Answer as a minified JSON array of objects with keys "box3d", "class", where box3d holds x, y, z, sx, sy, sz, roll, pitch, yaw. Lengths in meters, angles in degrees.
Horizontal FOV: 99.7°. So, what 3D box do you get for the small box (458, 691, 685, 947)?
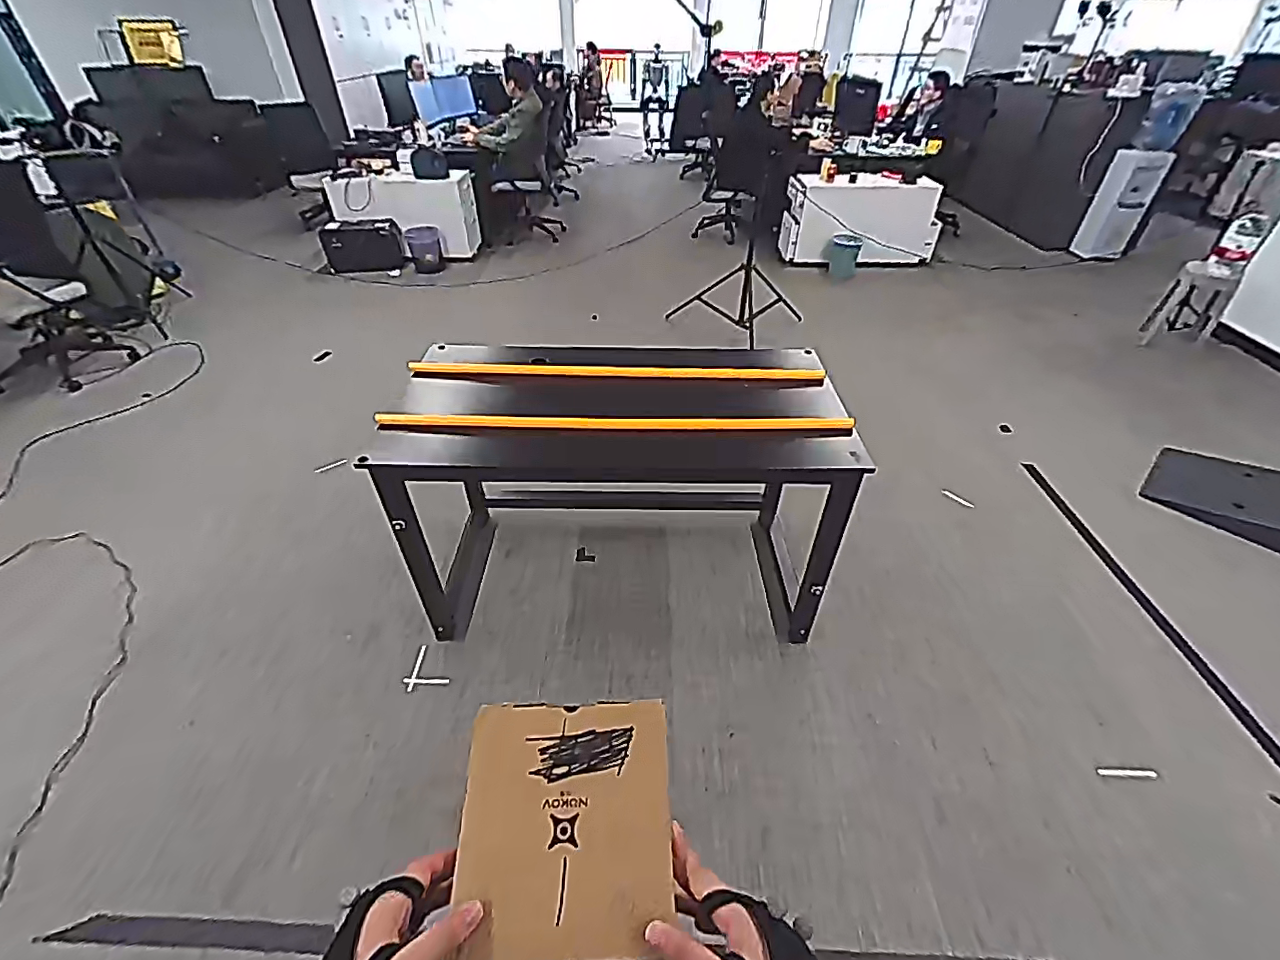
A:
[{"box3d":[-0.051,0.310,0.498,0.168,0.176,0.179,-2,53,-1],"class":"small box"}]
